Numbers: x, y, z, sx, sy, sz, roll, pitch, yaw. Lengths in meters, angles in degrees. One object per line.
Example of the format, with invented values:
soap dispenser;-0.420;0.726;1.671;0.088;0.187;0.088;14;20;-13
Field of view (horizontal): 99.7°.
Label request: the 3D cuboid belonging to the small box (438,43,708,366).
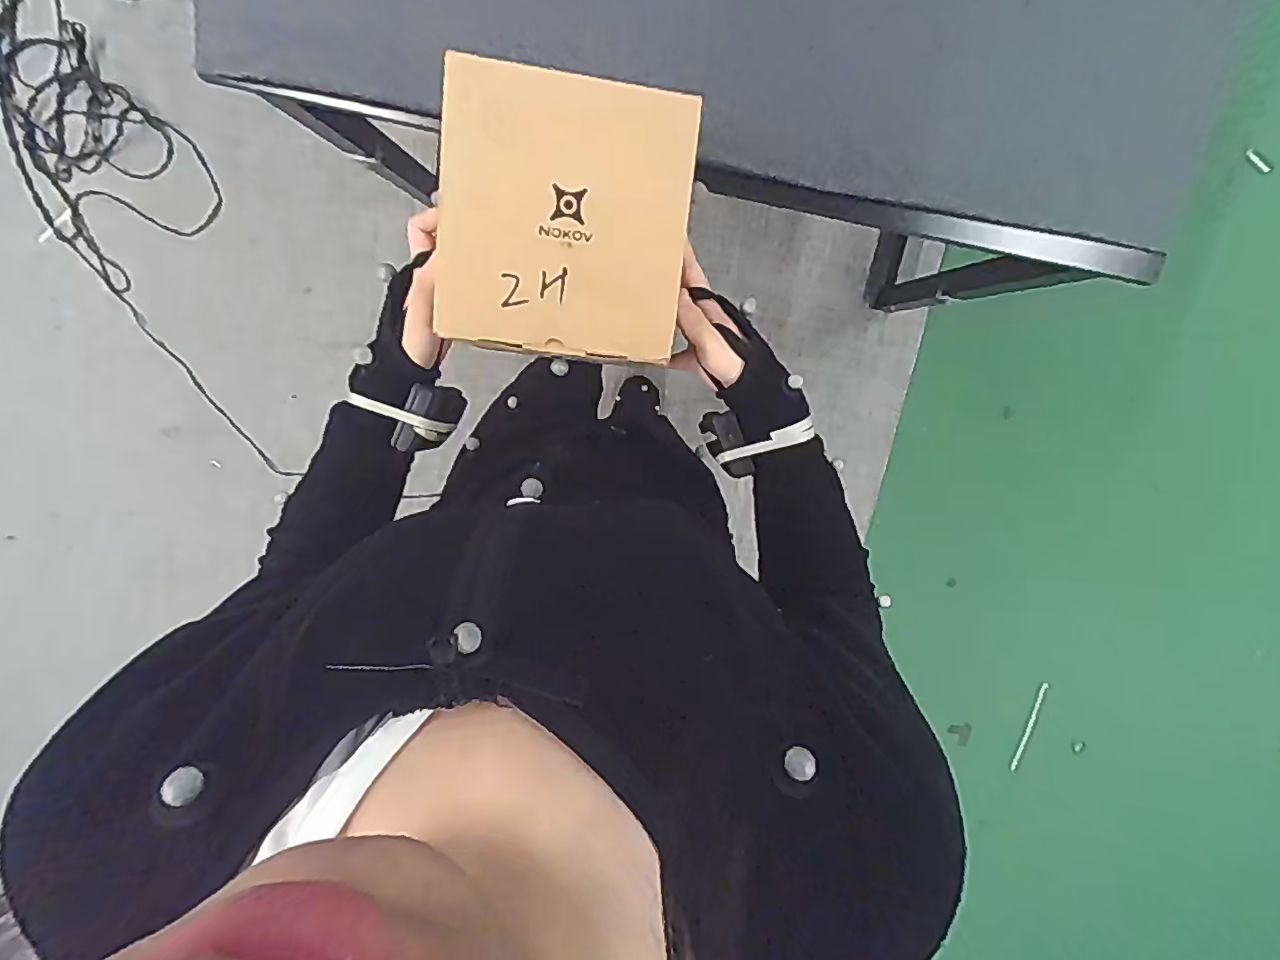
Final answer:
small box;-0.053;-0.193;0.437;0.168;0.176;0.179;6;99;-6
